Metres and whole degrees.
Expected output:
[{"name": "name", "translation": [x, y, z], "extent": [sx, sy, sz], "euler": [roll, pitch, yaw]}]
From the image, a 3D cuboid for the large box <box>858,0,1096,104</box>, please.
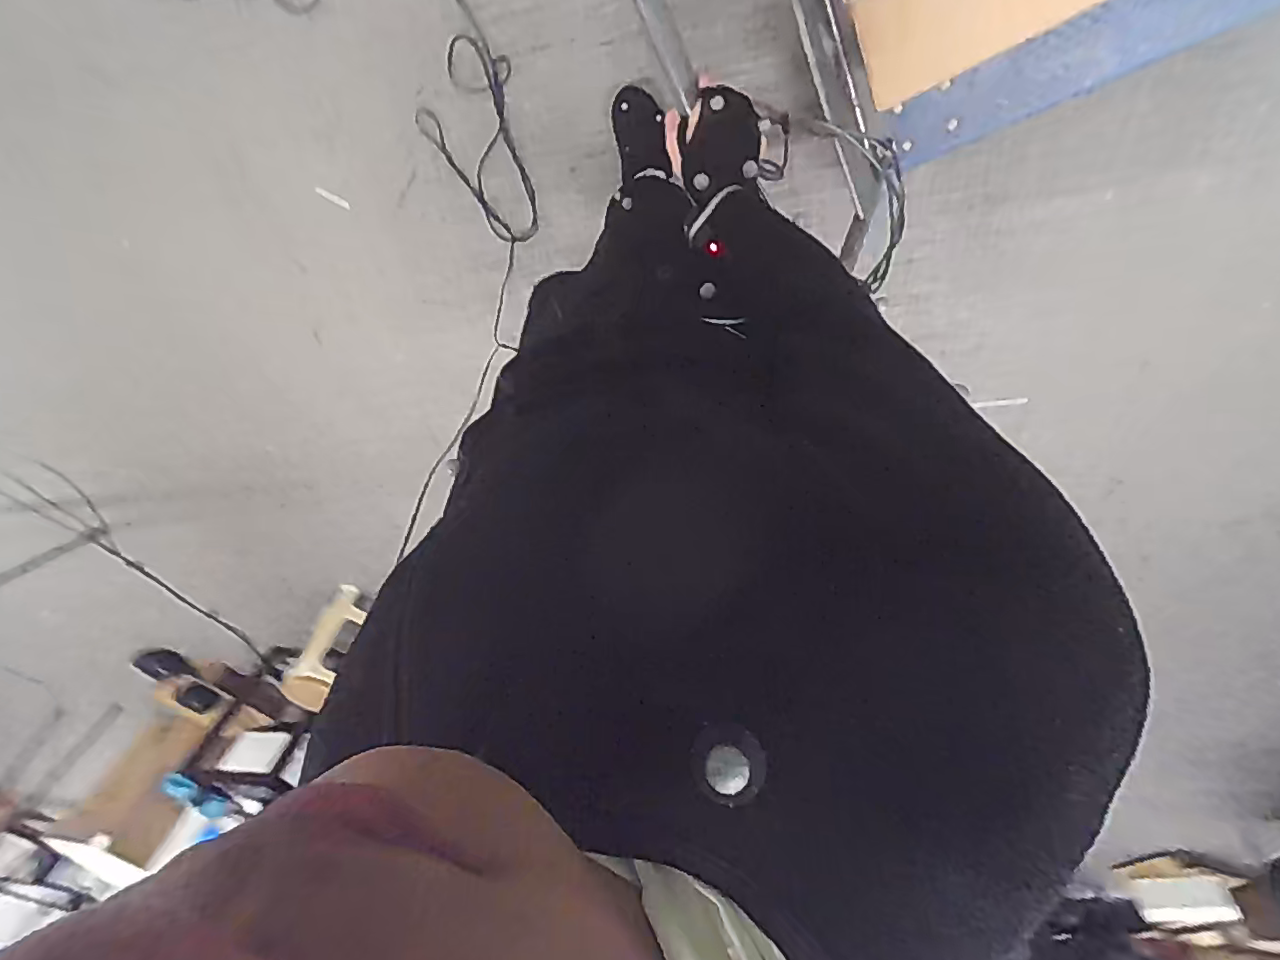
[{"name": "large box", "translation": [0.499, -0.790, 0.715], "extent": [0.408, 0.320, 0.320], "euler": [-10, 127, 34]}]
